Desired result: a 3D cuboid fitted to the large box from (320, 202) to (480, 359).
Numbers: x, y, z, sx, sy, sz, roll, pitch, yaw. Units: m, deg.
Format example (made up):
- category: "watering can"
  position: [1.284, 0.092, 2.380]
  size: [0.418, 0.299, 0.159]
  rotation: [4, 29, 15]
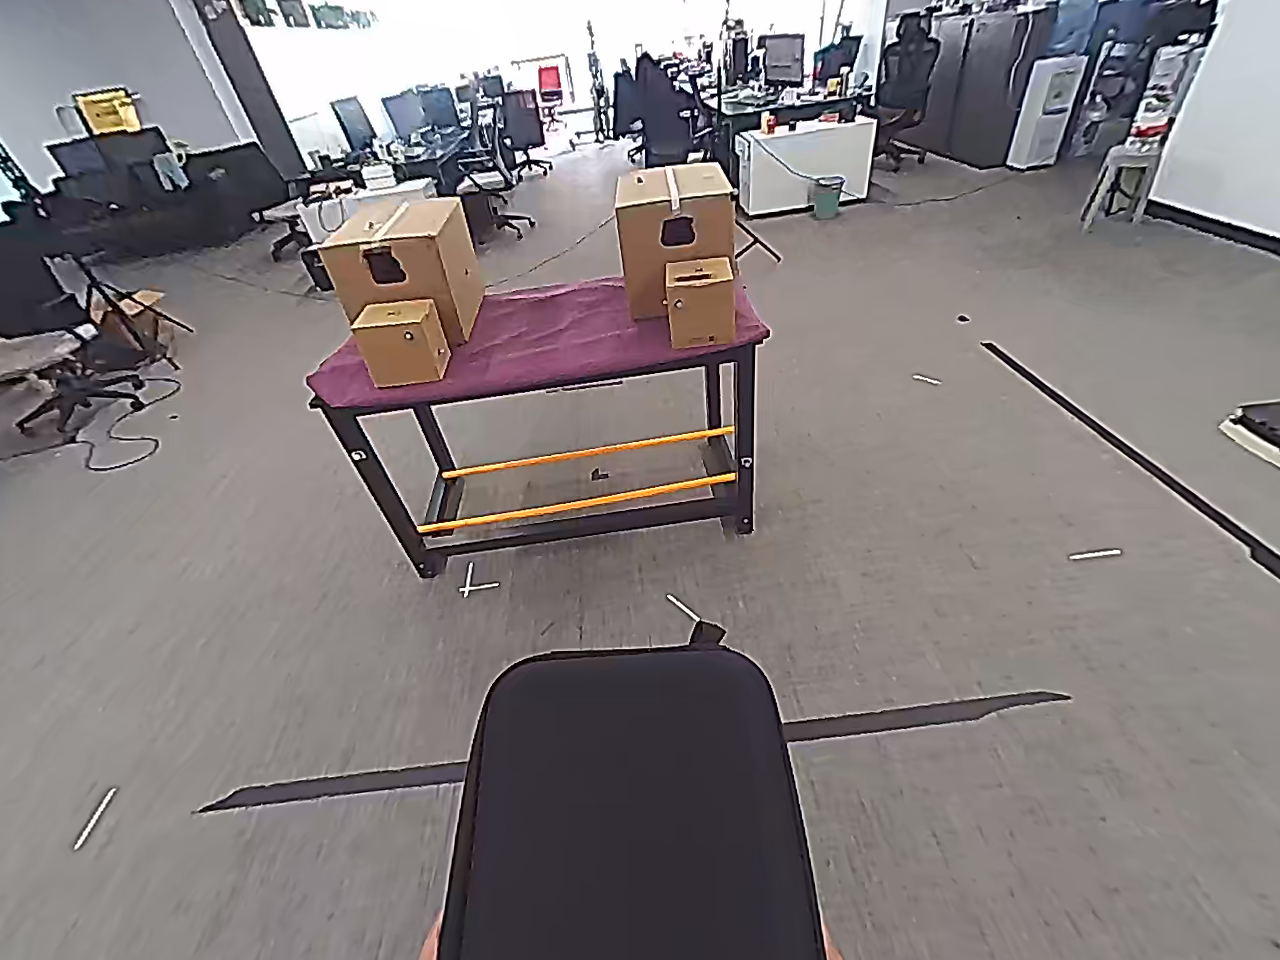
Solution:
- category: "large box"
  position: [-0.697, -0.617, 1.656]
  size: [0.320, 0.320, 0.408]
  rotation: [-8, 42, -1]
